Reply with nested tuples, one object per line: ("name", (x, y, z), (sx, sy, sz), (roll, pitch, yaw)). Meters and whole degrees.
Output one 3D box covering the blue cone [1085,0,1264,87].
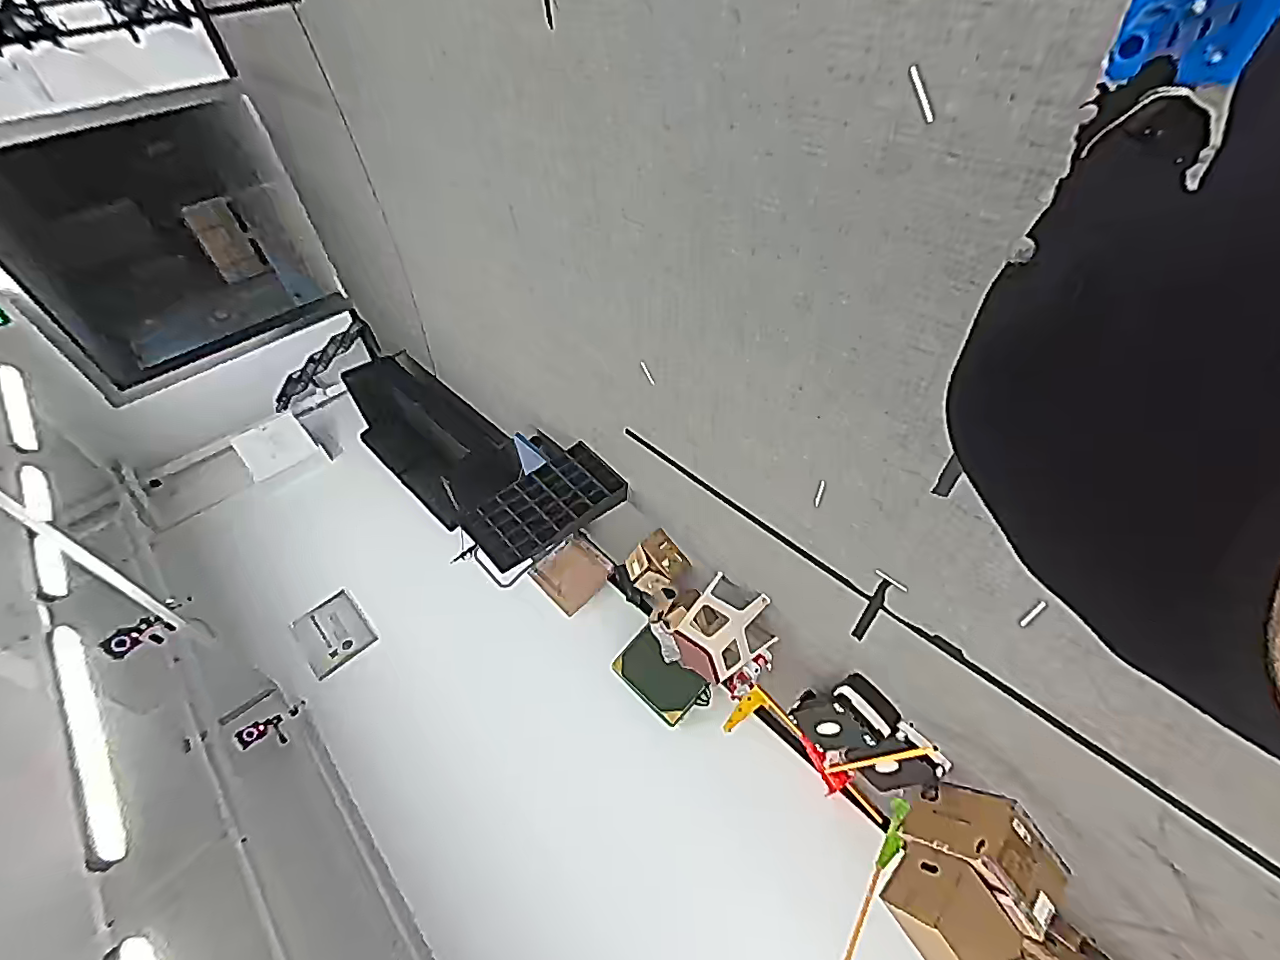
("blue cone", (0.777, -0.681, 0.818), (0.192, 0.380, 0.193), (36, 148, 34))
